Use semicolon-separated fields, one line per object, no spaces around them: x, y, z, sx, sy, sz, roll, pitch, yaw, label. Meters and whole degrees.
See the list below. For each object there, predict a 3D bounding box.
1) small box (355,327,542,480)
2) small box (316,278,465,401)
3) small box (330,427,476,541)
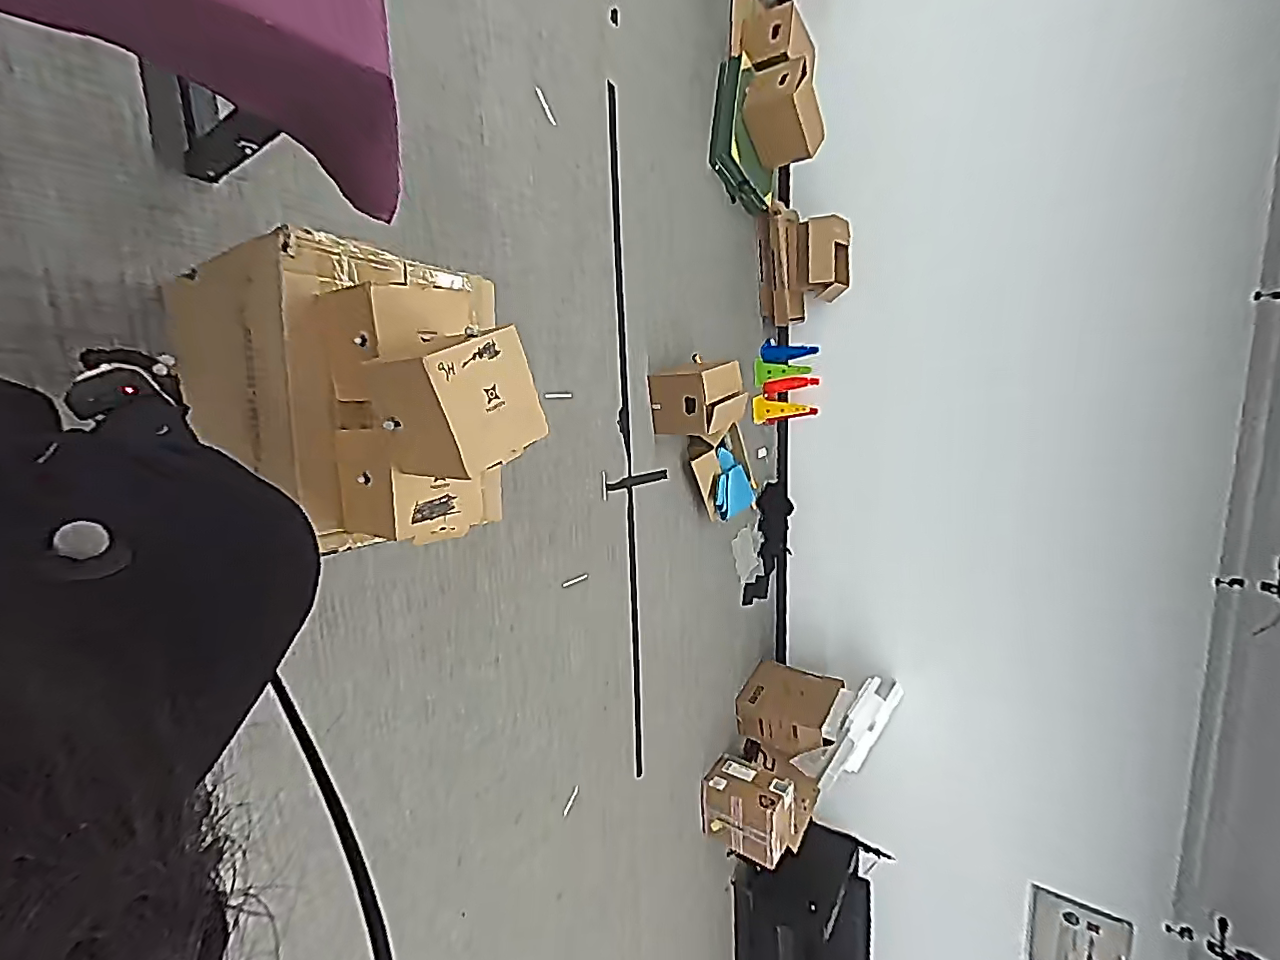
-0.280;-0.117;0.804;0.168;0.176;0.179;-40;125;-46;small box
-0.408;-0.224;0.896;0.168;0.176;0.179;-18;109;-52;small box
-0.403;-0.002;0.923;0.168;0.176;0.179;-10;100;-54;small box
